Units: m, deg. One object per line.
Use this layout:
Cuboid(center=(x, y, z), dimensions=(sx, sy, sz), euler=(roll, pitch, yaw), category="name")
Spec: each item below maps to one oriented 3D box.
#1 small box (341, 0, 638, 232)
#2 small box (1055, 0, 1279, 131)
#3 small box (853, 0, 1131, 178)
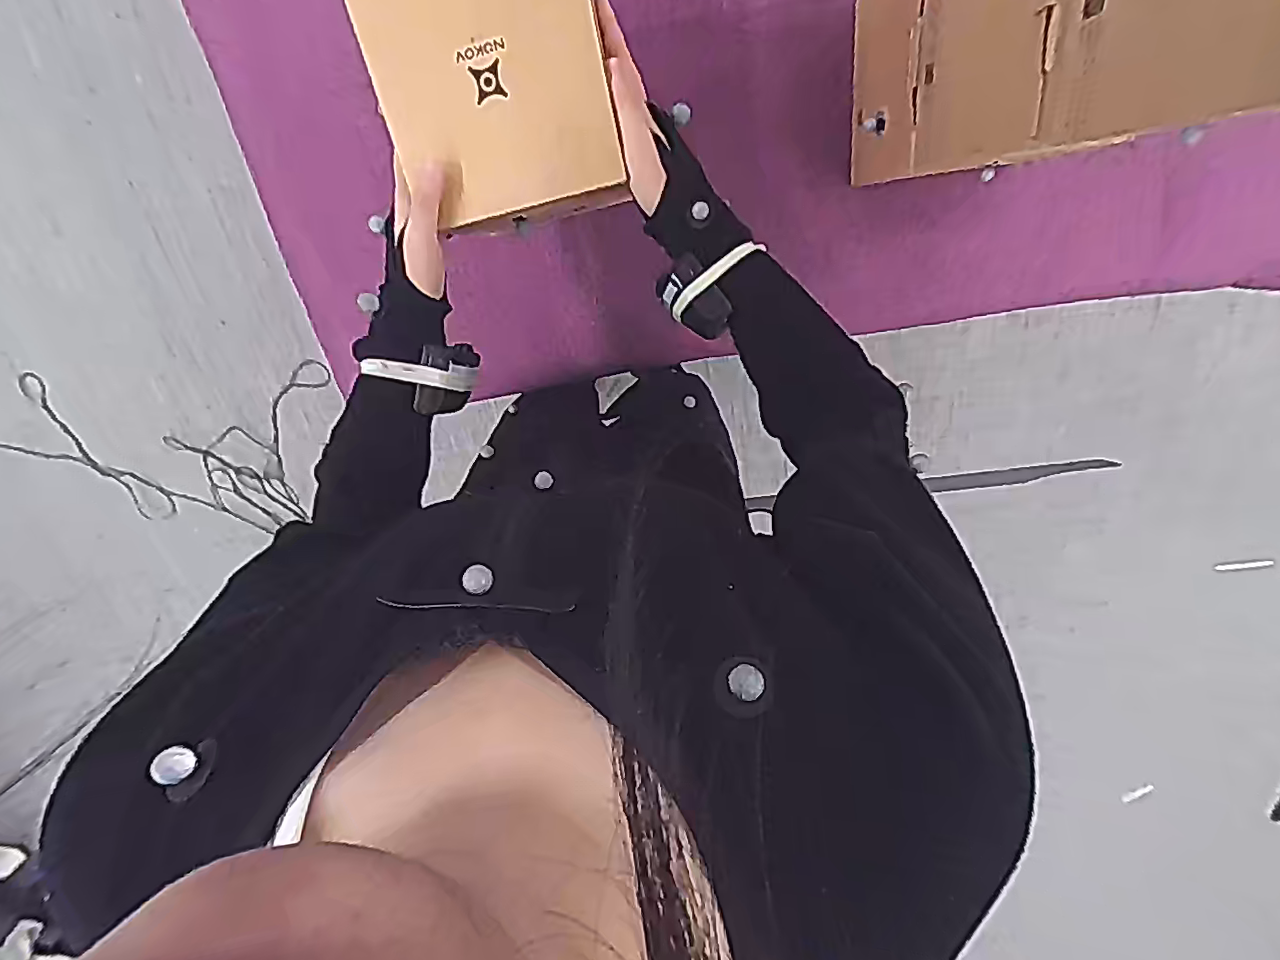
Cuboid(center=(-0.102, -0.315, 0.443), dimensions=(0.168, 0.176, 0.179), euler=(-10, 112, 9), category="small box")
Cuboid(center=(0.297, -0.237, 0.183), dimensions=(0.179, 0.176, 0.168), euler=(-6, 114, 6), category="small box")
Cuboid(center=(0.302, -0.378, 0.481), dimensions=(0.179, 0.176, 0.168), euler=(-6, 115, 5), category="small box")
